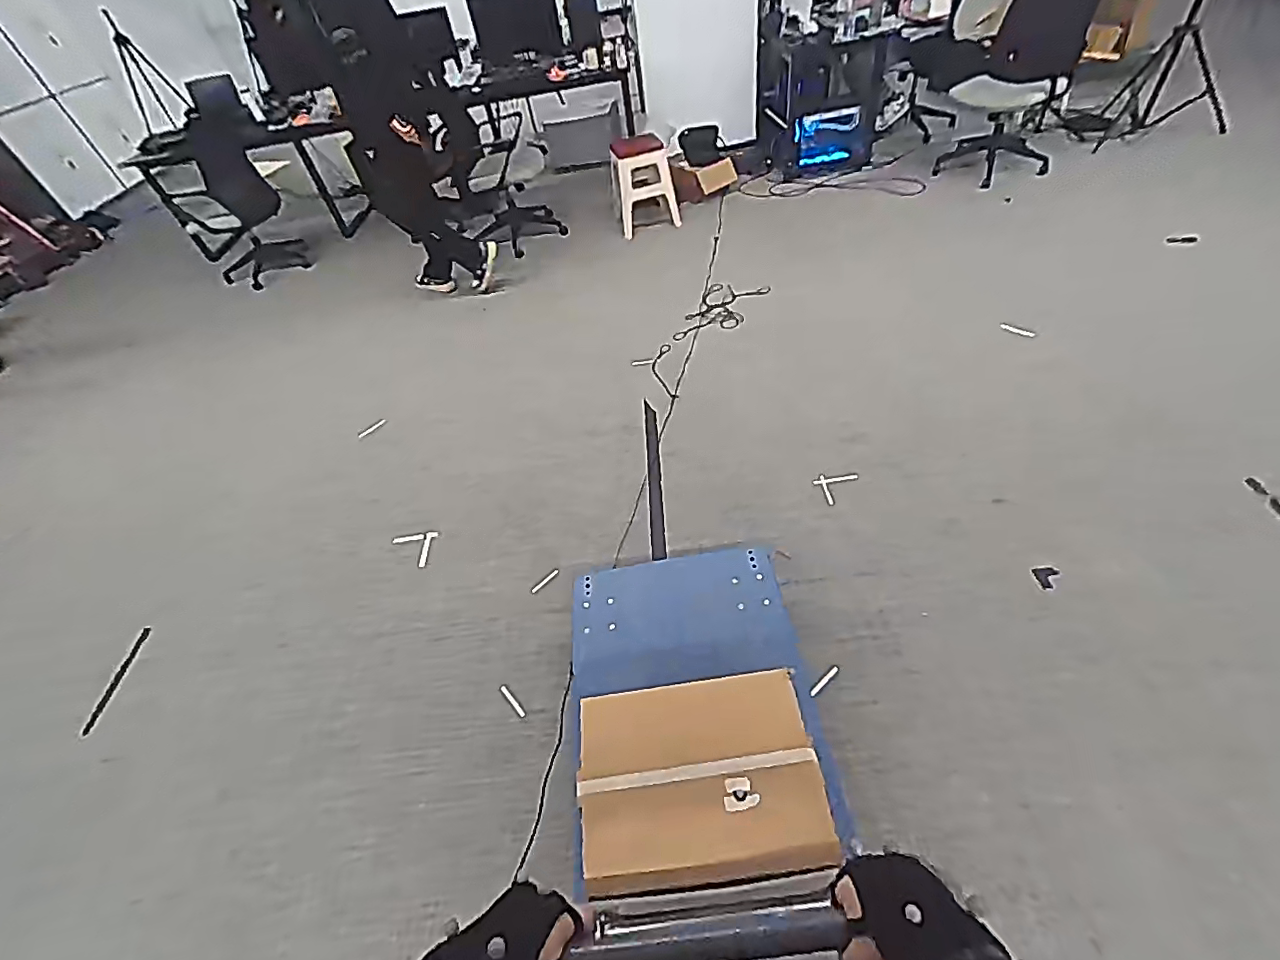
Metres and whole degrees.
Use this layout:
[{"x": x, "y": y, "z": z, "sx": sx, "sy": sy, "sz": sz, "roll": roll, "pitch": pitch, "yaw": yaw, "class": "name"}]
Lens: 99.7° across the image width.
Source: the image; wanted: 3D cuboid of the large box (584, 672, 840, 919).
[{"x": 0.120, "y": 0.615, "z": 1.050, "sx": 0.408, "sy": 0.320, "sz": 0.320, "roll": -9, "pitch": 47, "yaw": 2, "class": "large box"}]
